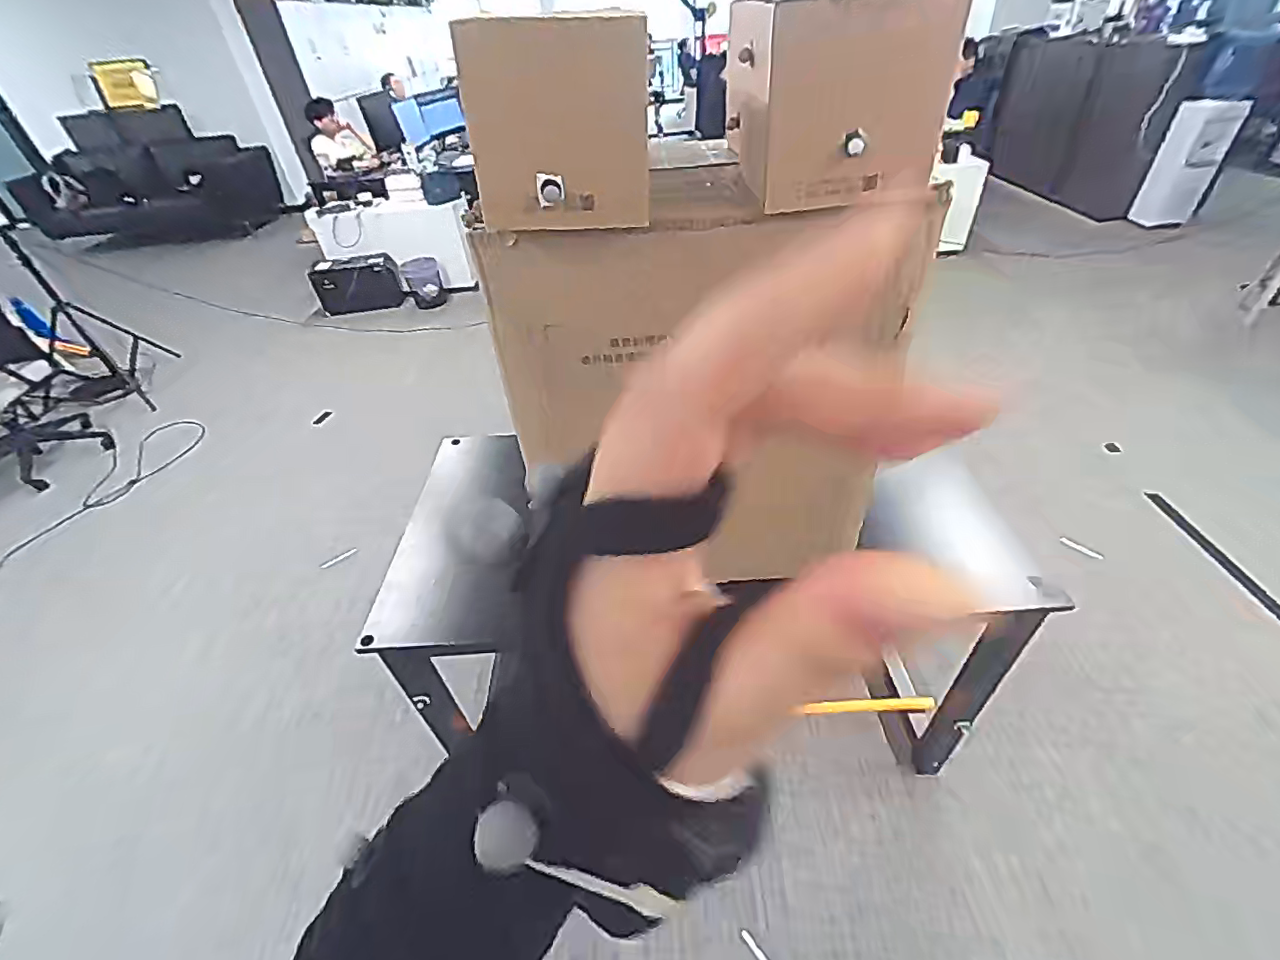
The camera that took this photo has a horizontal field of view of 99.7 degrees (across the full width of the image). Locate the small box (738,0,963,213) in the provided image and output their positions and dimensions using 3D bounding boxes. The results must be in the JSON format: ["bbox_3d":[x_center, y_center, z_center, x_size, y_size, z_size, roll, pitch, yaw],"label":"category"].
[{"bbox_3d":[0.196,-0.396,0.565,0.168,0.176,0.179,-5,43,4],"label":"small box"}]
